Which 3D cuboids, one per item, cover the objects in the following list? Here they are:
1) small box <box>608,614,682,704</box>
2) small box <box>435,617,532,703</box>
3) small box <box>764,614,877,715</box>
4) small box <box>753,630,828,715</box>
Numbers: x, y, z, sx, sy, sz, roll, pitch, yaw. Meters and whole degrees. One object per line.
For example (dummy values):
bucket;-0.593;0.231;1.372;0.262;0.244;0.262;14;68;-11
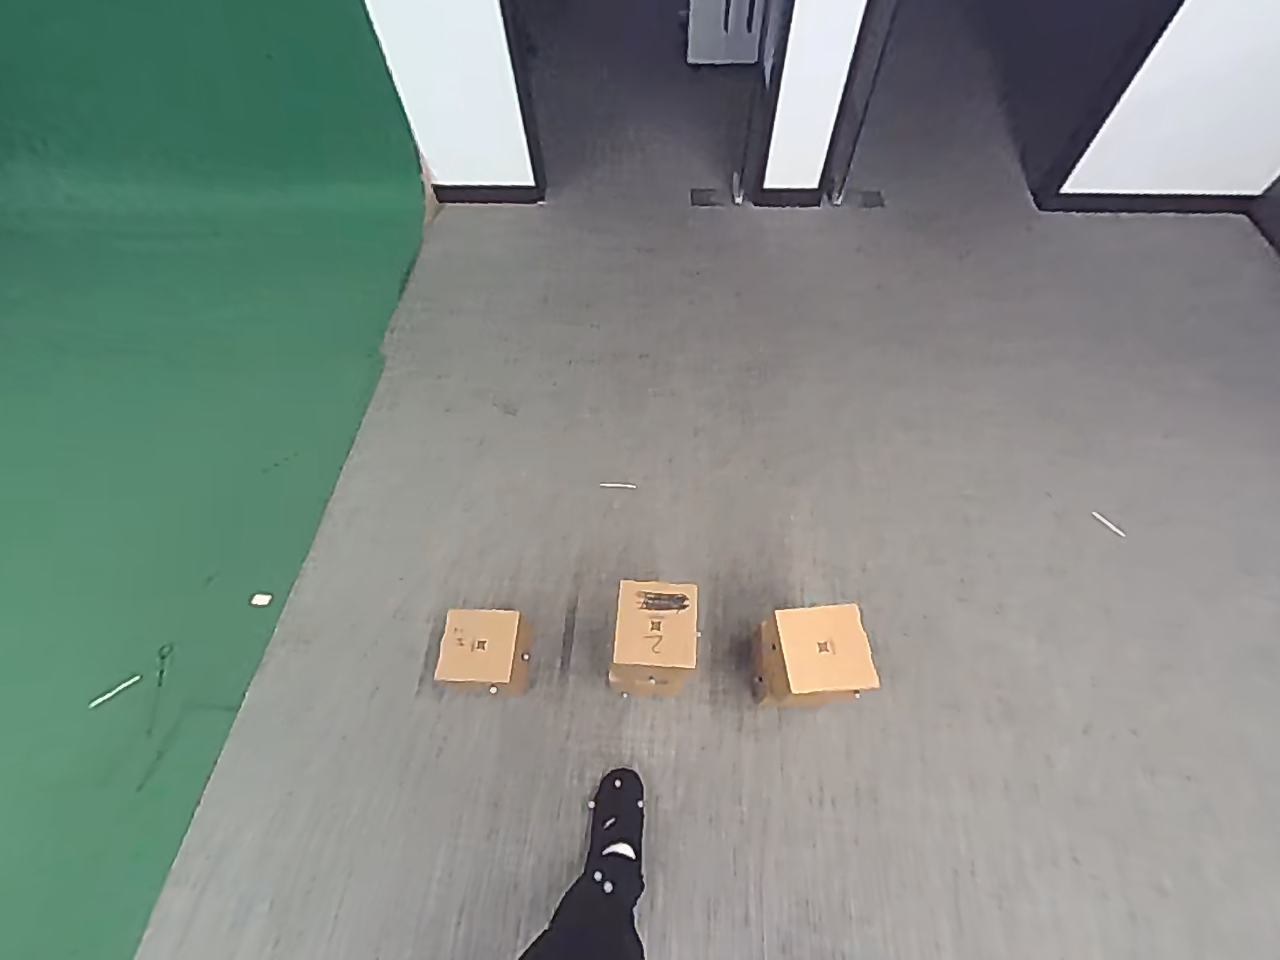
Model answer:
small box;0.016;0.439;1.316;0.168;0.176;0.179;2;58;3
small box;-0.372;0.445;1.326;0.179;0.176;0.168;1;58;3
small box;0.366;0.393;1.143;0.179;0.176;0.168;-4;59;-1
small box;0.369;0.463;1.290;0.179;0.176;0.168;0;60;2
